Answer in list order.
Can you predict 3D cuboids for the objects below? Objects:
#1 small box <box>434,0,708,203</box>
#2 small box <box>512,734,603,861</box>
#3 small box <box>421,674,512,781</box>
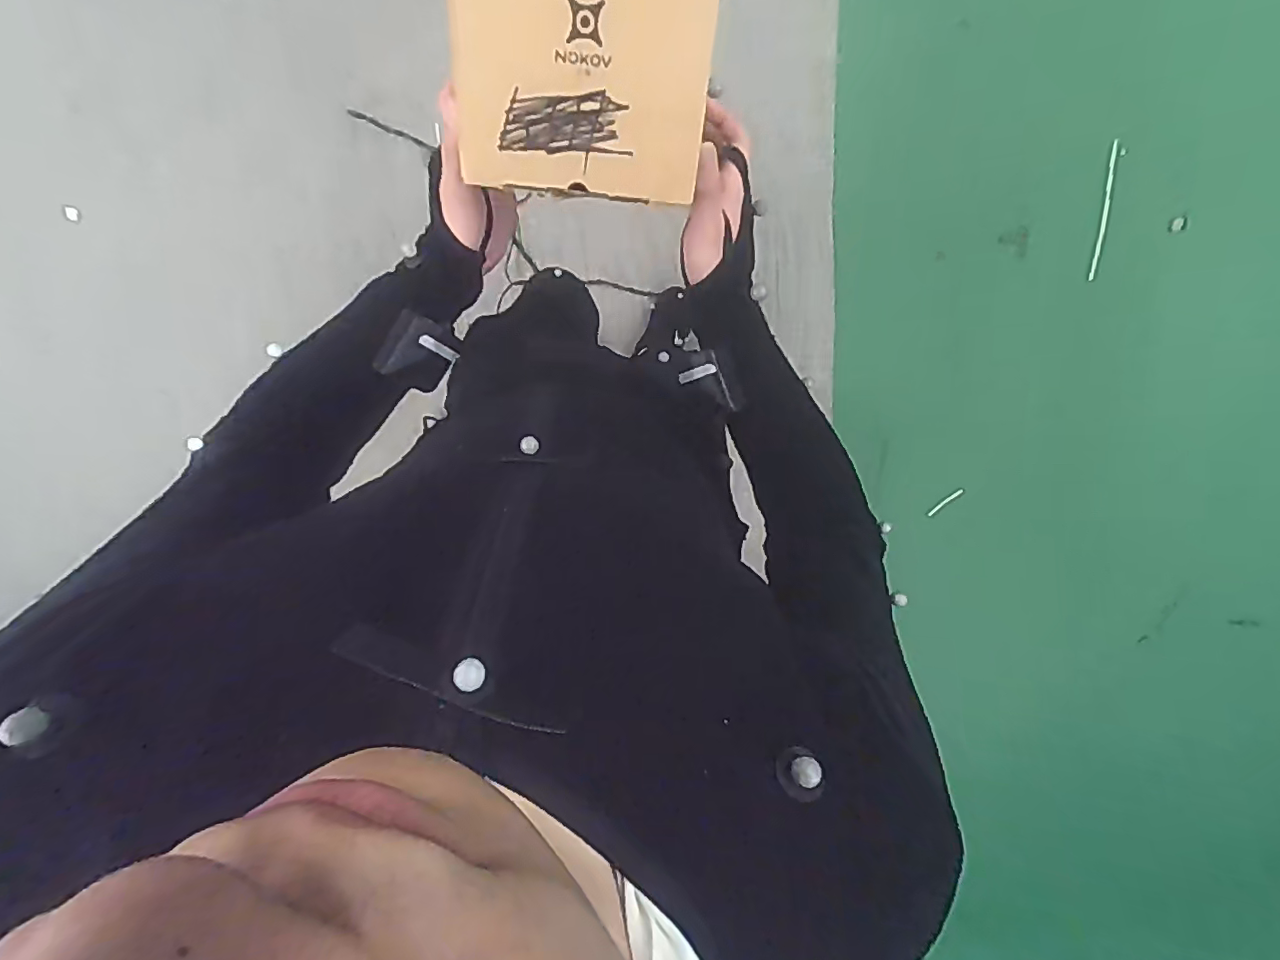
[{"bbox_3d":[-0.040,-0.314,0.395,0.168,0.176,0.179,5,120,-2],"label":"small box"},{"bbox_3d":[-0.175,0.700,1.200,0.168,0.176,0.179,0,109,4],"label":"small box"},{"bbox_3d":[-0.429,0.621,1.368,0.168,0.176,0.179,2,108,3],"label":"small box"}]
